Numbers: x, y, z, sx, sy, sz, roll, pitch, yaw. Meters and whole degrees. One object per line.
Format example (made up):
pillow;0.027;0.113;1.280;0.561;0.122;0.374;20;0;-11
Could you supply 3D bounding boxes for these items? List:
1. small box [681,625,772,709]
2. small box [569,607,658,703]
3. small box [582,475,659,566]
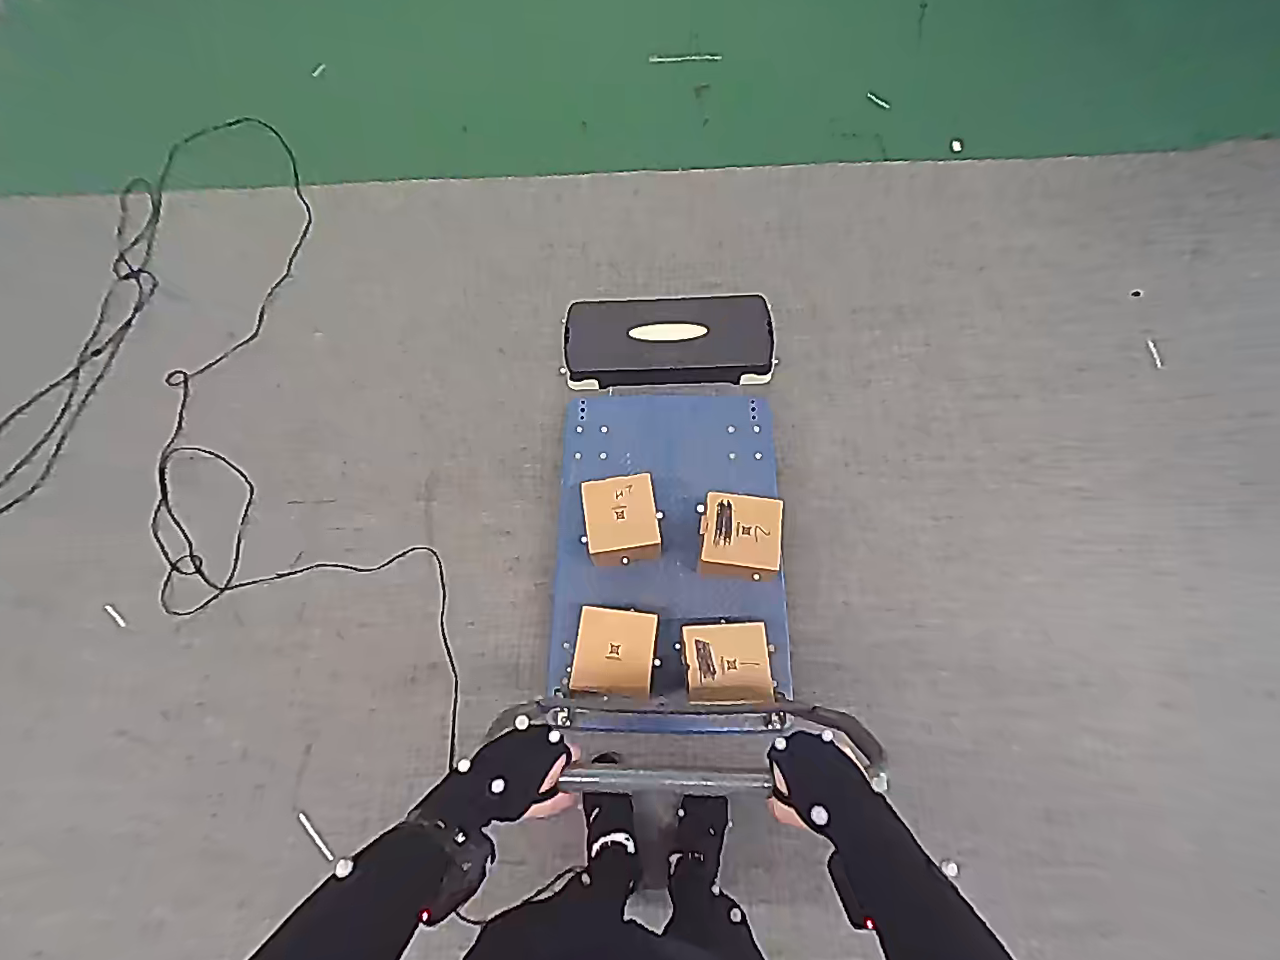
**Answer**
small box;0.182;0.414;1.191;0.179;0.176;0.168;-3;69;1
small box;-0.054;0.391;1.208;0.168;0.176;0.179;7;70;3
small box;-0.043;0.106;1.315;0.168;0.176;0.179;-8;69;-2
